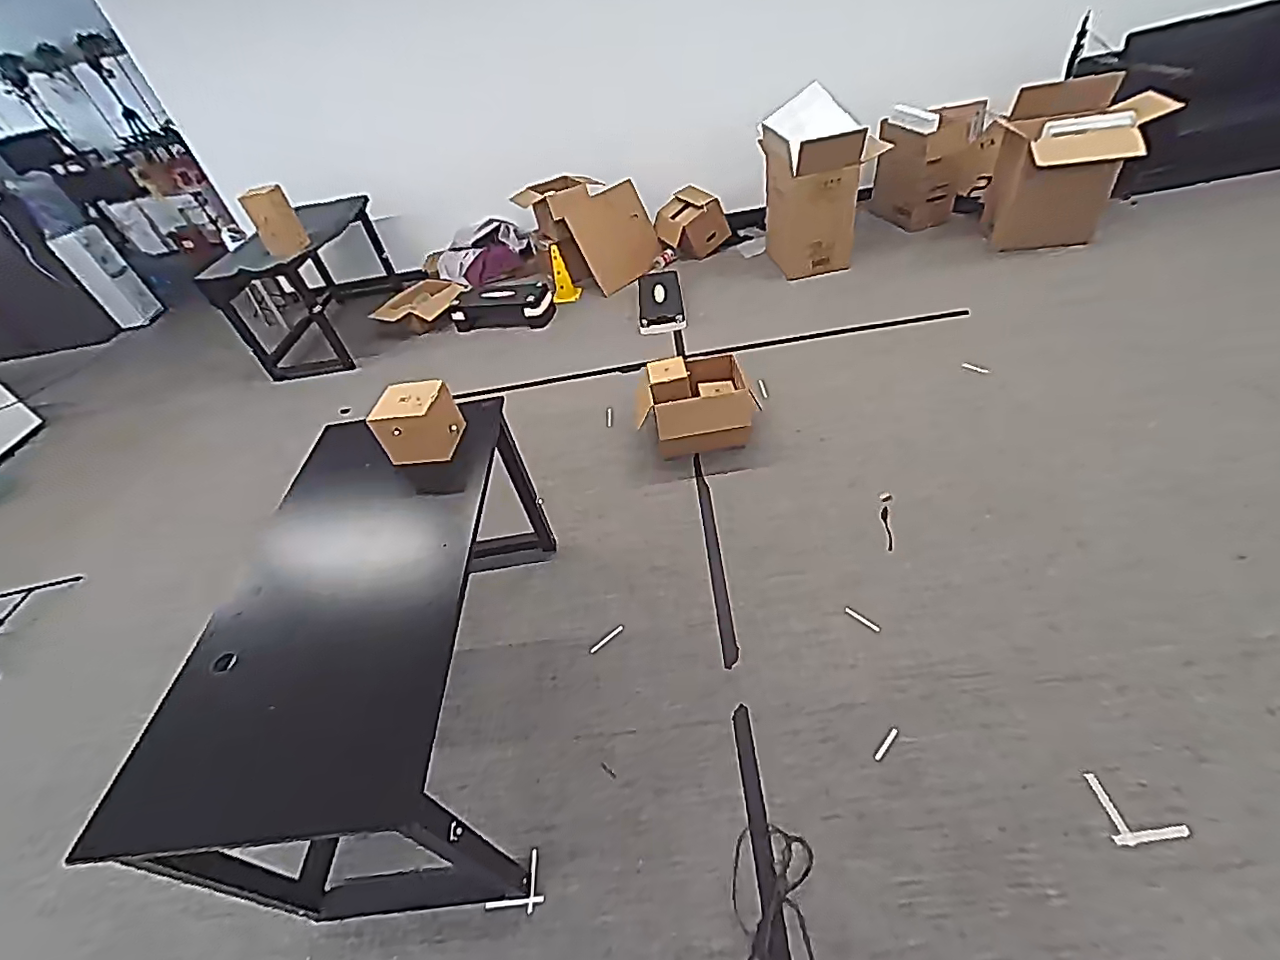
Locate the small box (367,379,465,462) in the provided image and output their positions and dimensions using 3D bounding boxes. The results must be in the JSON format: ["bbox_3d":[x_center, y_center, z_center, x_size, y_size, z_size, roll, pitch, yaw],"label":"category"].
[{"bbox_3d":[-0.632,-0.166,1.548,0.179,0.176,0.168,-4,45,9],"label":"small box"}]
